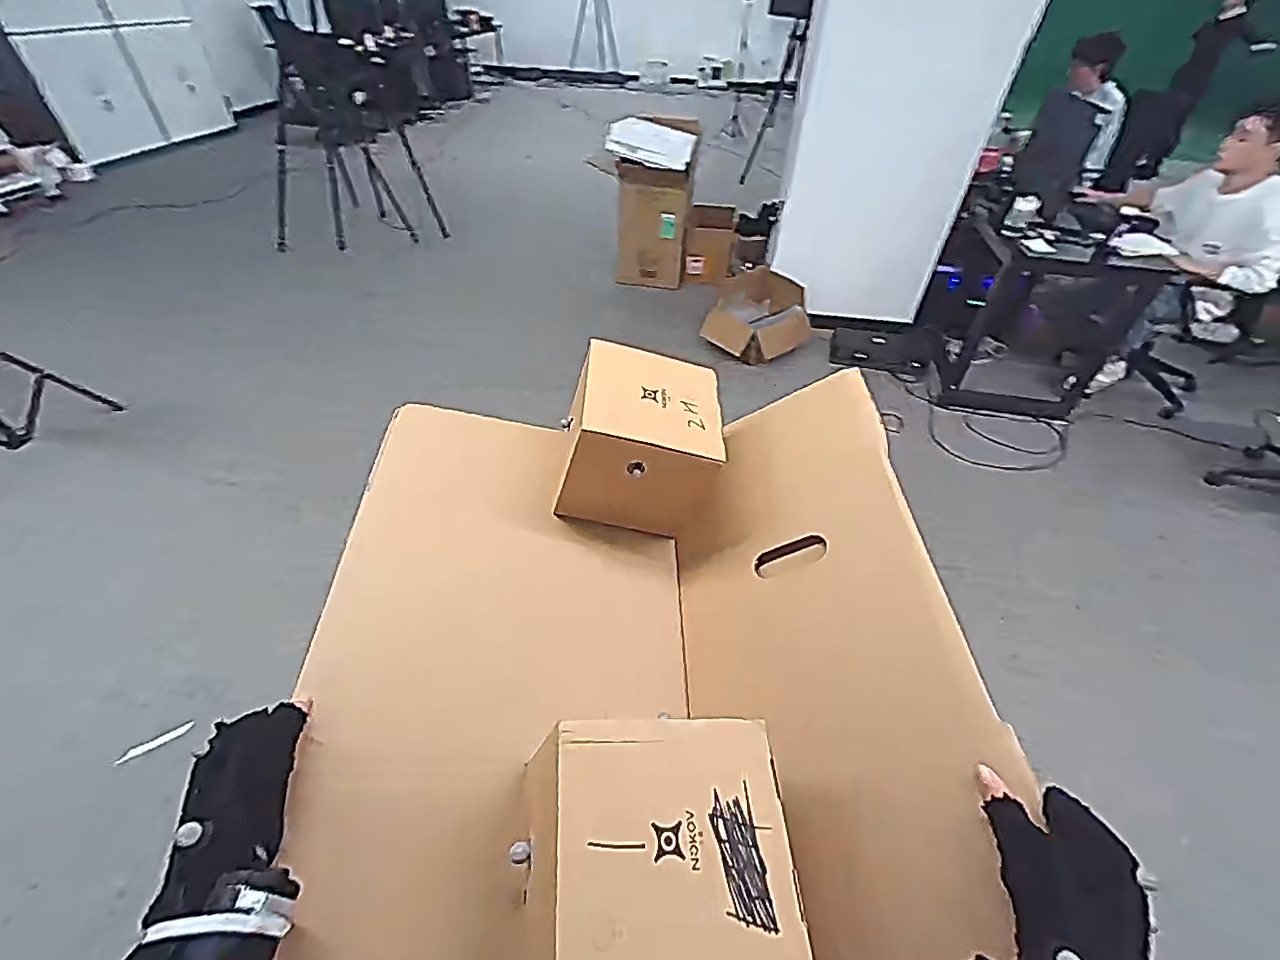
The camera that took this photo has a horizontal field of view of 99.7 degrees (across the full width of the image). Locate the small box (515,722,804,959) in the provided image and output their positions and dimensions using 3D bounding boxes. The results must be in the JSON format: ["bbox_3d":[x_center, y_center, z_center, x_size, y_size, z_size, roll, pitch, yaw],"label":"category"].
[{"bbox_3d":[0.001,0.305,0.442,0.179,0.176,0.168,7,51,-16],"label":"small box"}]

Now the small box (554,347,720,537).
[{"bbox_3d":[-0.010,-0.043,0.721,0.179,0.176,0.168,13,49,-13],"label":"small box"}]
